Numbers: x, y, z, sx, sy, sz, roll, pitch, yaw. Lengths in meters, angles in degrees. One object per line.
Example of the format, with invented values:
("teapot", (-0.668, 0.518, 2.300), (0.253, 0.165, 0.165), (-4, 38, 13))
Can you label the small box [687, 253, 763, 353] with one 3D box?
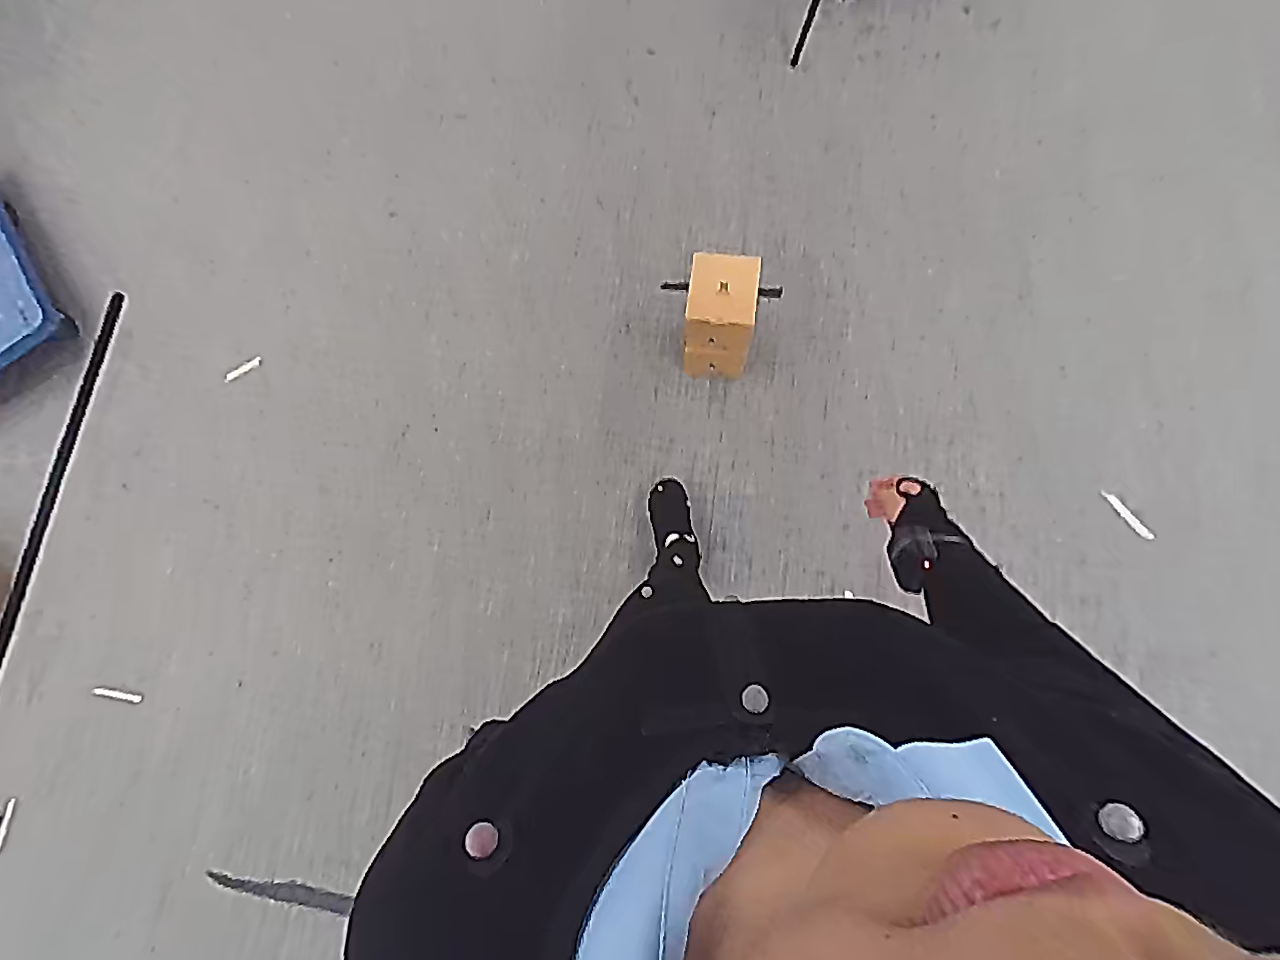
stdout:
("small box", (0.209, -0.439, 1.360), (0.168, 0.176, 0.179), (7, 81, 7))

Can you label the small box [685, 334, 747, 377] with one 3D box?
("small box", (0.218, -0.401, 1.518), (0.168, 0.176, 0.179), (5, 79, 6))
